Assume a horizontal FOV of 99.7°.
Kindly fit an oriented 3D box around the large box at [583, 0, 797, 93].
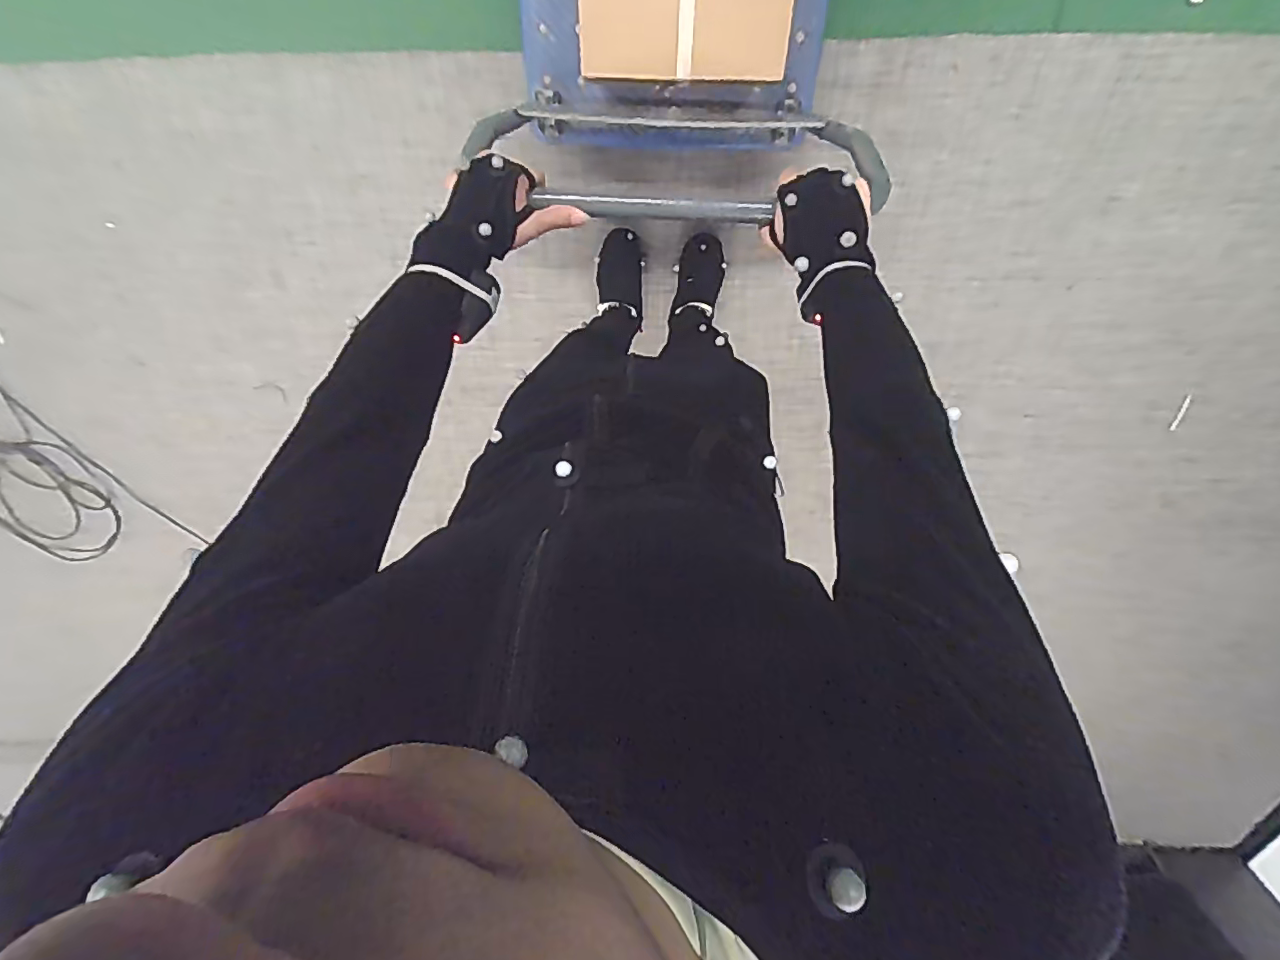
[{"bbox_3d":[0.079,-0.860,0.849,0.320,0.320,0.408,2,124,1],"label":"large box"}]
